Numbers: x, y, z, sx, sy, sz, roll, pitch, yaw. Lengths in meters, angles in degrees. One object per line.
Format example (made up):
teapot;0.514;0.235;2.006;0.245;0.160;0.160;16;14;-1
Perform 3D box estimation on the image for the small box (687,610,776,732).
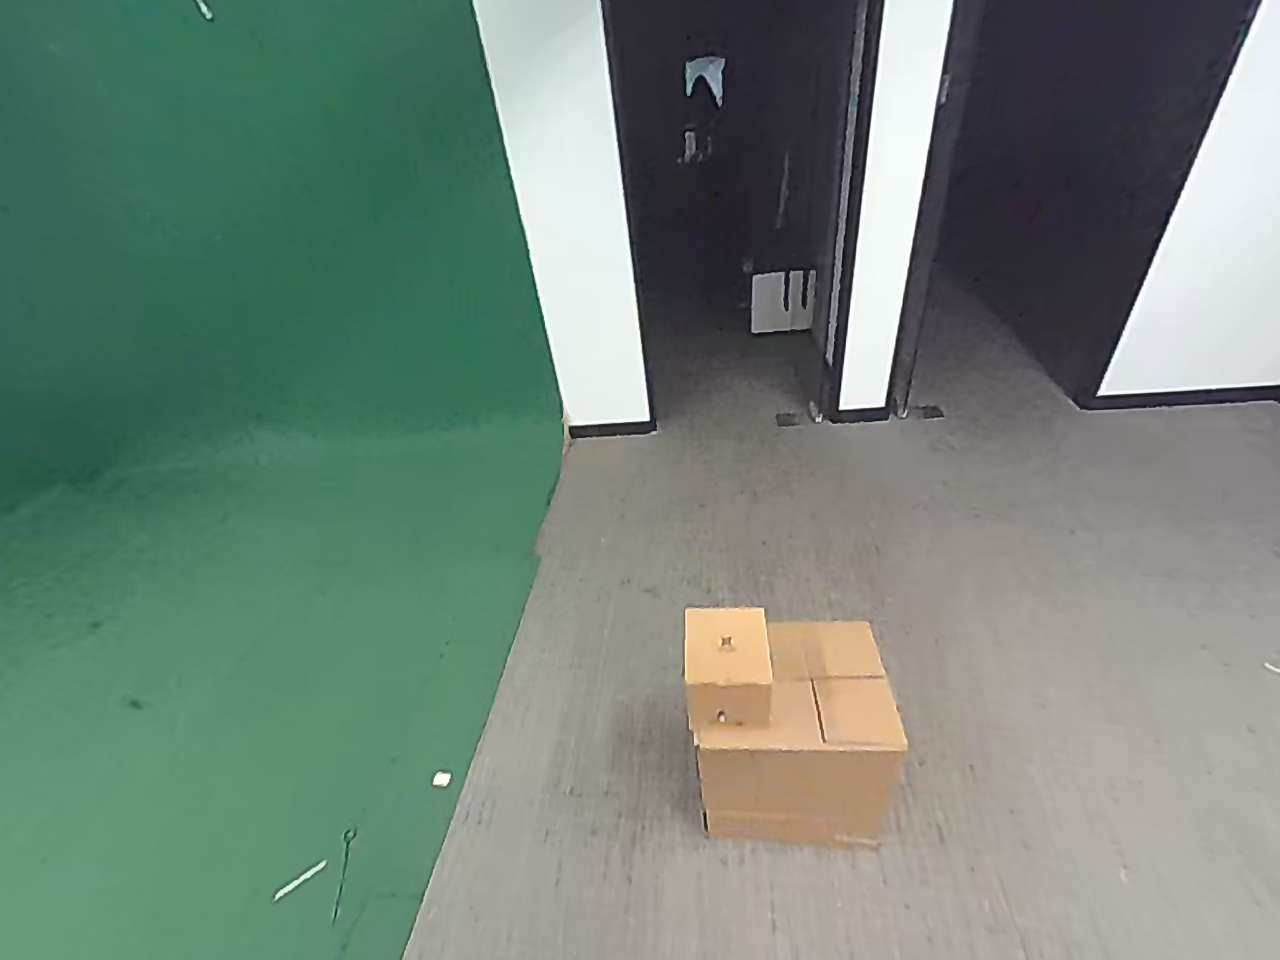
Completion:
small box;0.181;0.389;1.110;0.168;0.176;0.179;-2;39;7
